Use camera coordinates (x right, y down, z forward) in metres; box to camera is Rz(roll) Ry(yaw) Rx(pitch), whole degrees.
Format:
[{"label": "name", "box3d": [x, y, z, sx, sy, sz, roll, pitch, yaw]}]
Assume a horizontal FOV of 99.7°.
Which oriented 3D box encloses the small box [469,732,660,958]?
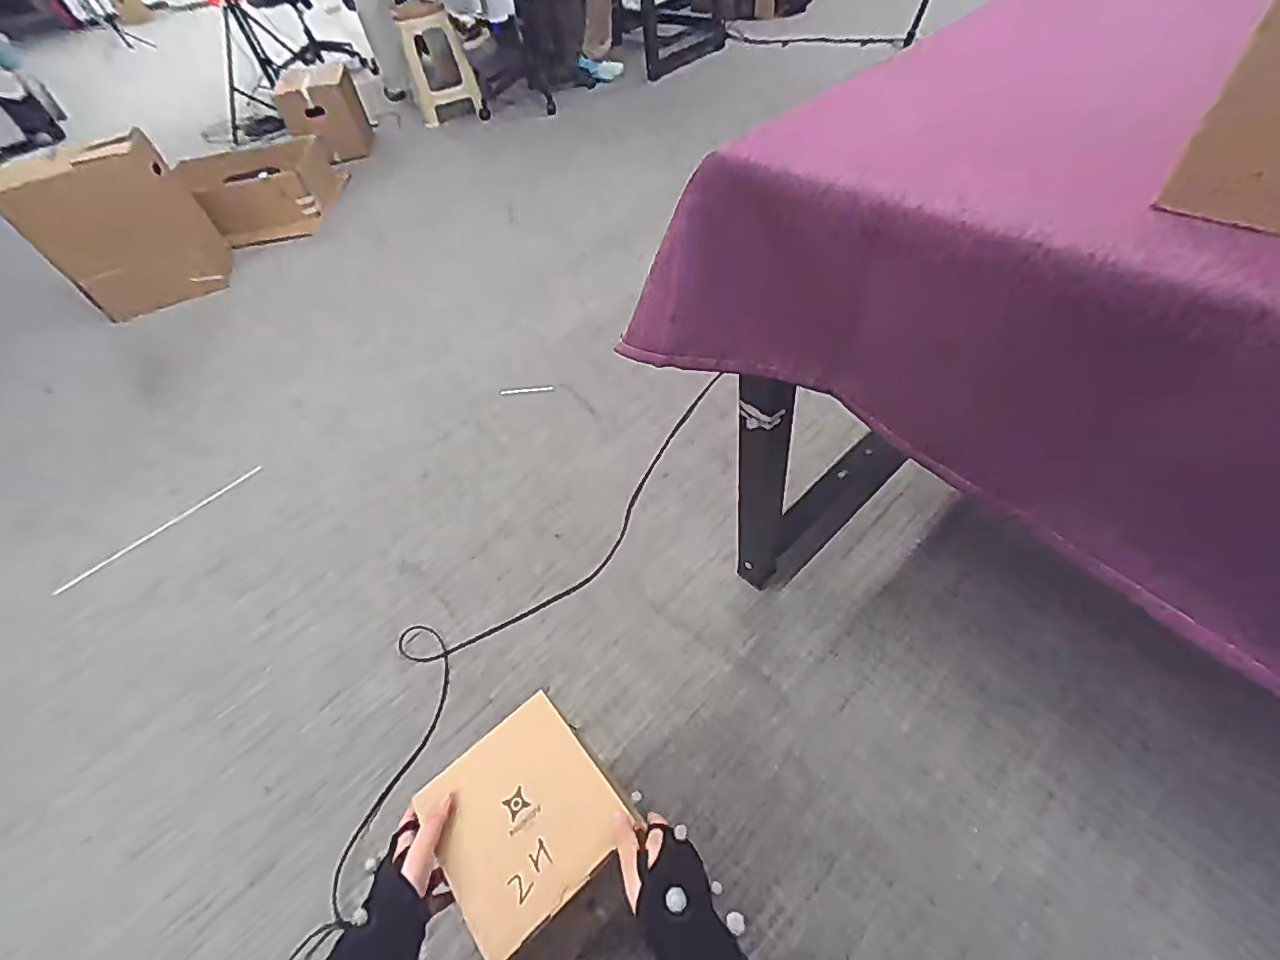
[{"label": "small box", "box3d": [-0.088, 0.482, 0.719, 0.179, 0.176, 0.168, -37, 55, -21]}]
